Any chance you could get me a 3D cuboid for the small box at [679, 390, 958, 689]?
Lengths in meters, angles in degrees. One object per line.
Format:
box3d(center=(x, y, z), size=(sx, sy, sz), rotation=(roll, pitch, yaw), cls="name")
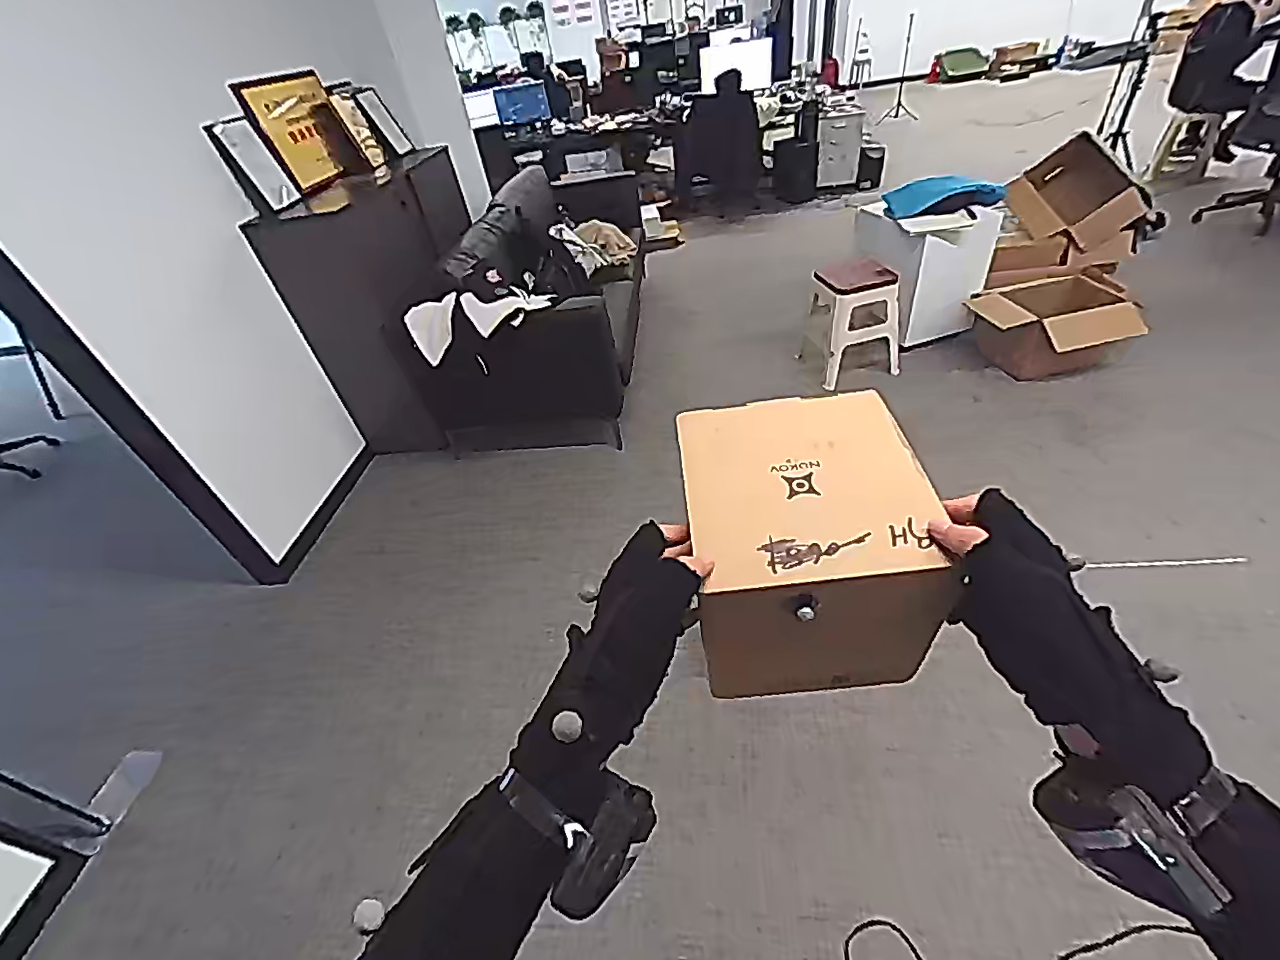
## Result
box3d(center=(0.124, 0.051, 0.451), size=(0.168, 0.176, 0.179), rotation=(-7, 45, 5), cls="small box")
